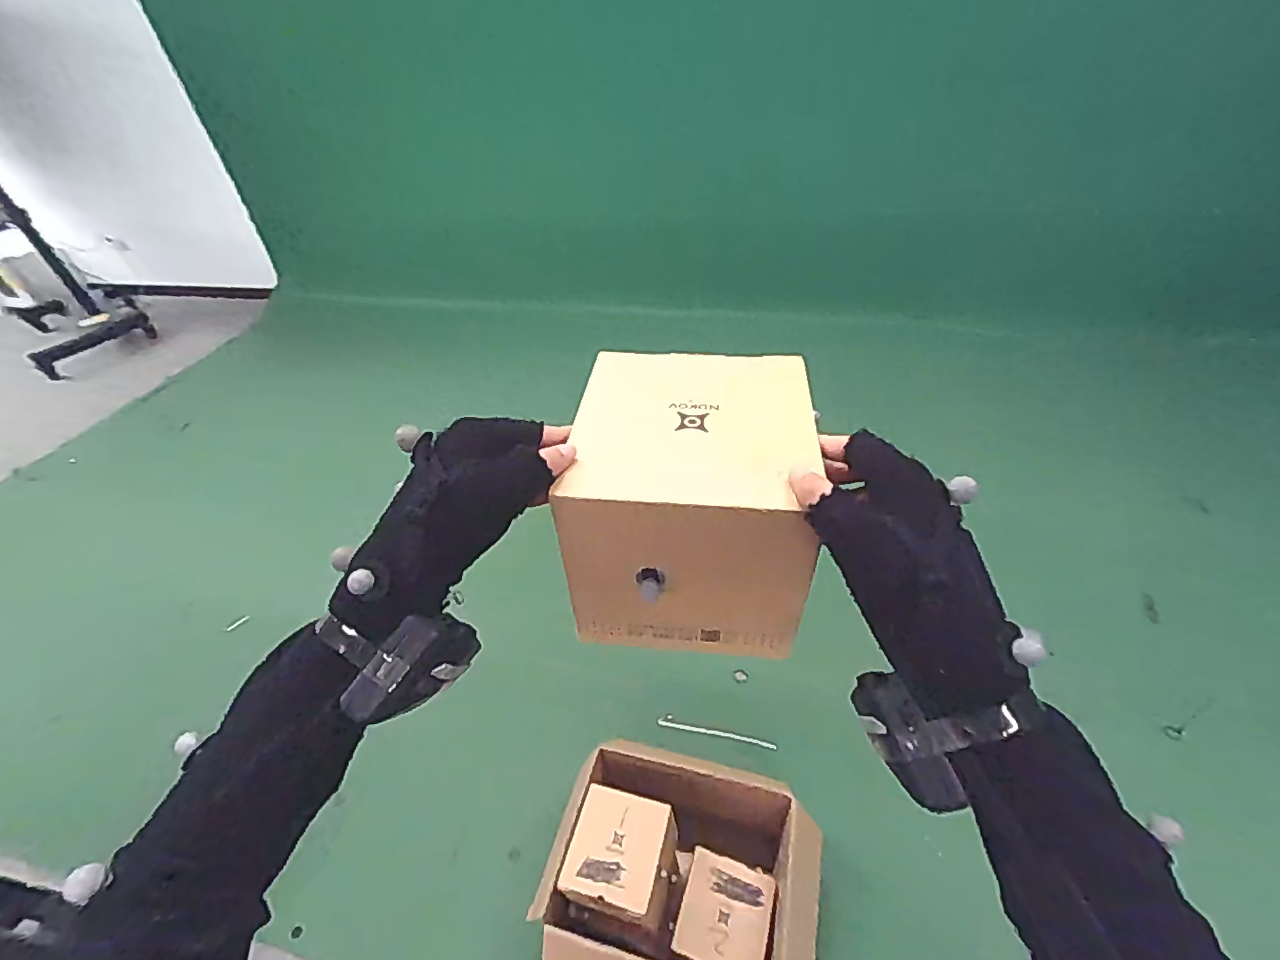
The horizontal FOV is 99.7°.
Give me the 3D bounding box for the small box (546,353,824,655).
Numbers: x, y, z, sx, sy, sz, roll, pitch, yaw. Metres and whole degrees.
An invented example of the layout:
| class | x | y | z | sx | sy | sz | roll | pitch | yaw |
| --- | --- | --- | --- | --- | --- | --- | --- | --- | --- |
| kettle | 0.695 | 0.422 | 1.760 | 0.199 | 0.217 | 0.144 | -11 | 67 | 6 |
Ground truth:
| class | x | y | z | sx | sy | sz | roll | pitch | yaw |
| --- | --- | --- | --- | --- | --- | --- | --- | --- | --- |
| small box | 0.038 | 0.017 | 0.424 | 0.168 | 0.176 | 0.179 | 2 | 42 | 7 |
